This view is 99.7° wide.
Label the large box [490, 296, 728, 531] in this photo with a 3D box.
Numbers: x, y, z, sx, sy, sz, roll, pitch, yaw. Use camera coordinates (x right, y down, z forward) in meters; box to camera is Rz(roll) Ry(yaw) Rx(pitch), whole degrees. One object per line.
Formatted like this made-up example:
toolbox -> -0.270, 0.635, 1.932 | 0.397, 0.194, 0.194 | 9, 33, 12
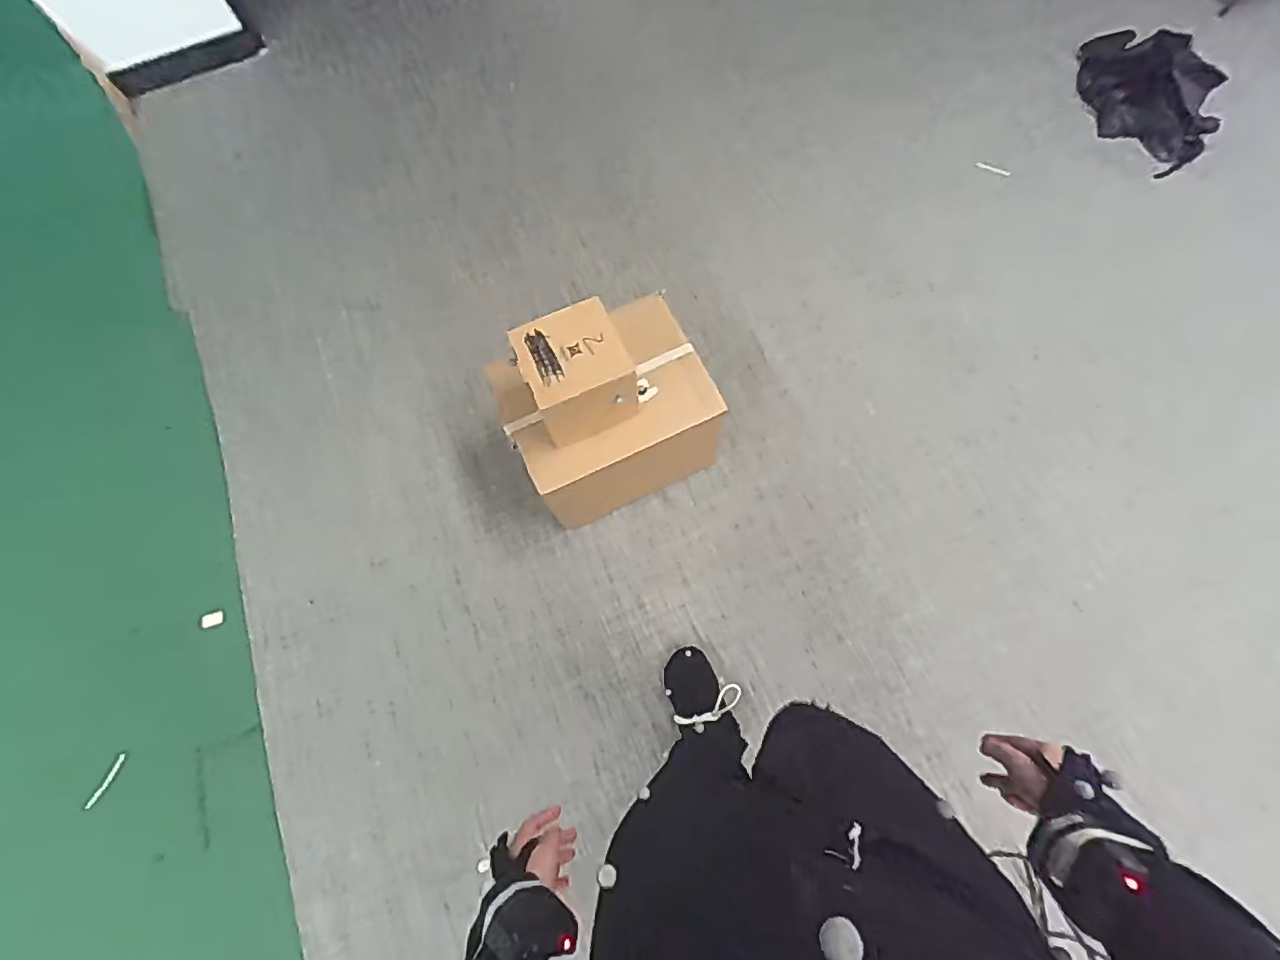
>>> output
large box -> -0.063, -0.132, 1.225 | 0.408, 0.320, 0.320 | -25, 73, -7
